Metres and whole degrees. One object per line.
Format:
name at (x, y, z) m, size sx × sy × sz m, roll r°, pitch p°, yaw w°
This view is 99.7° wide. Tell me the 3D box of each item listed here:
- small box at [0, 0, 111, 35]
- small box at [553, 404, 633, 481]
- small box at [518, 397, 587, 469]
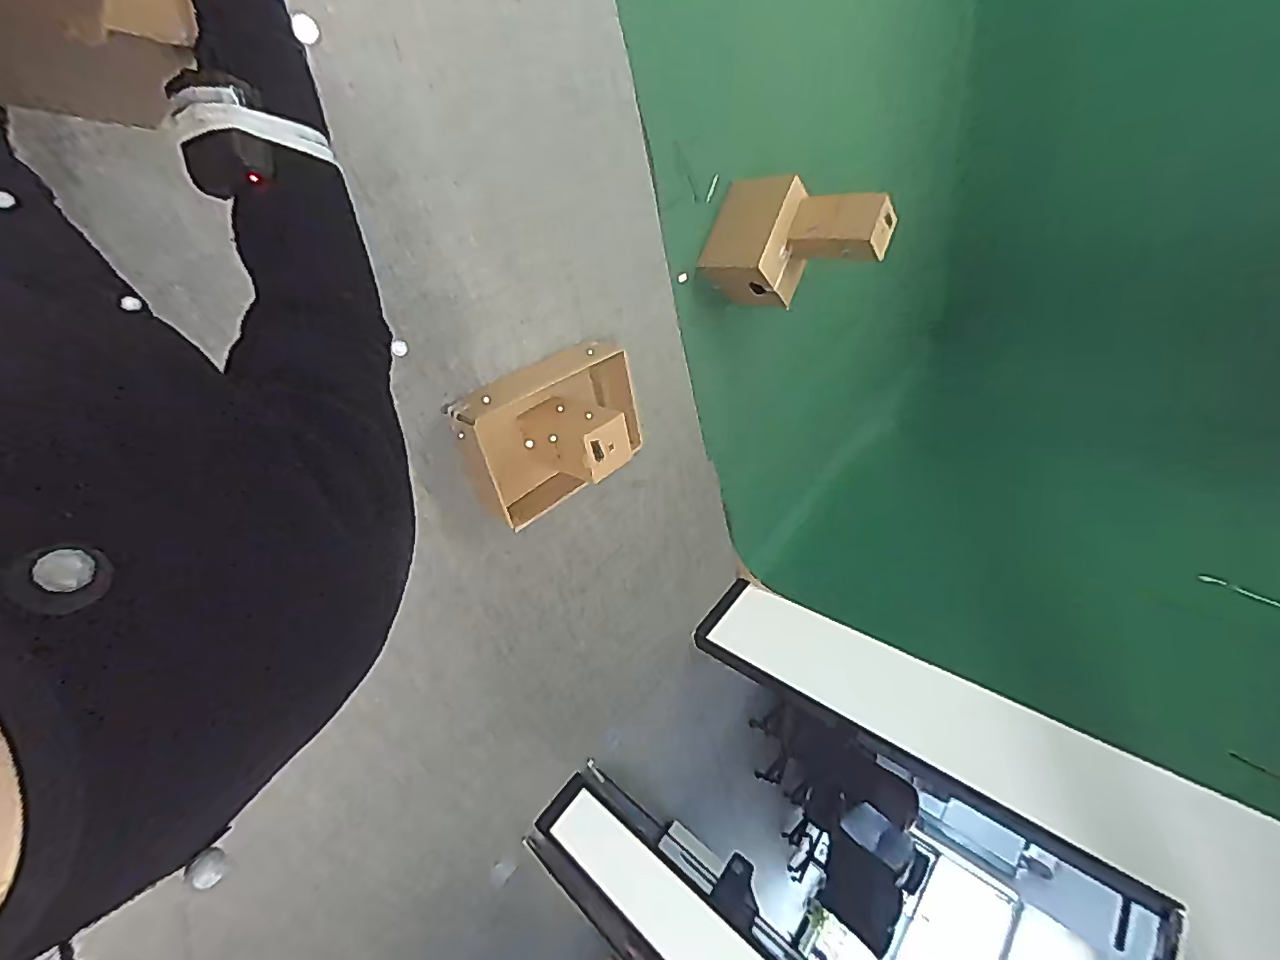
small box at (-0.311, -0.317, 0.197) m, size 0.168 × 0.176 × 0.179 m, roll -4°, pitch 111°, yaw -45°
small box at (-0.152, -0.122, 1.688) m, size 0.179 × 0.176 × 0.168 m, roll -37°, pitch 130°, yaw -35°
small box at (-0.272, -0.162, 1.793) m, size 0.179 × 0.176 × 0.168 m, roll -36°, pitch 129°, yaw -34°
